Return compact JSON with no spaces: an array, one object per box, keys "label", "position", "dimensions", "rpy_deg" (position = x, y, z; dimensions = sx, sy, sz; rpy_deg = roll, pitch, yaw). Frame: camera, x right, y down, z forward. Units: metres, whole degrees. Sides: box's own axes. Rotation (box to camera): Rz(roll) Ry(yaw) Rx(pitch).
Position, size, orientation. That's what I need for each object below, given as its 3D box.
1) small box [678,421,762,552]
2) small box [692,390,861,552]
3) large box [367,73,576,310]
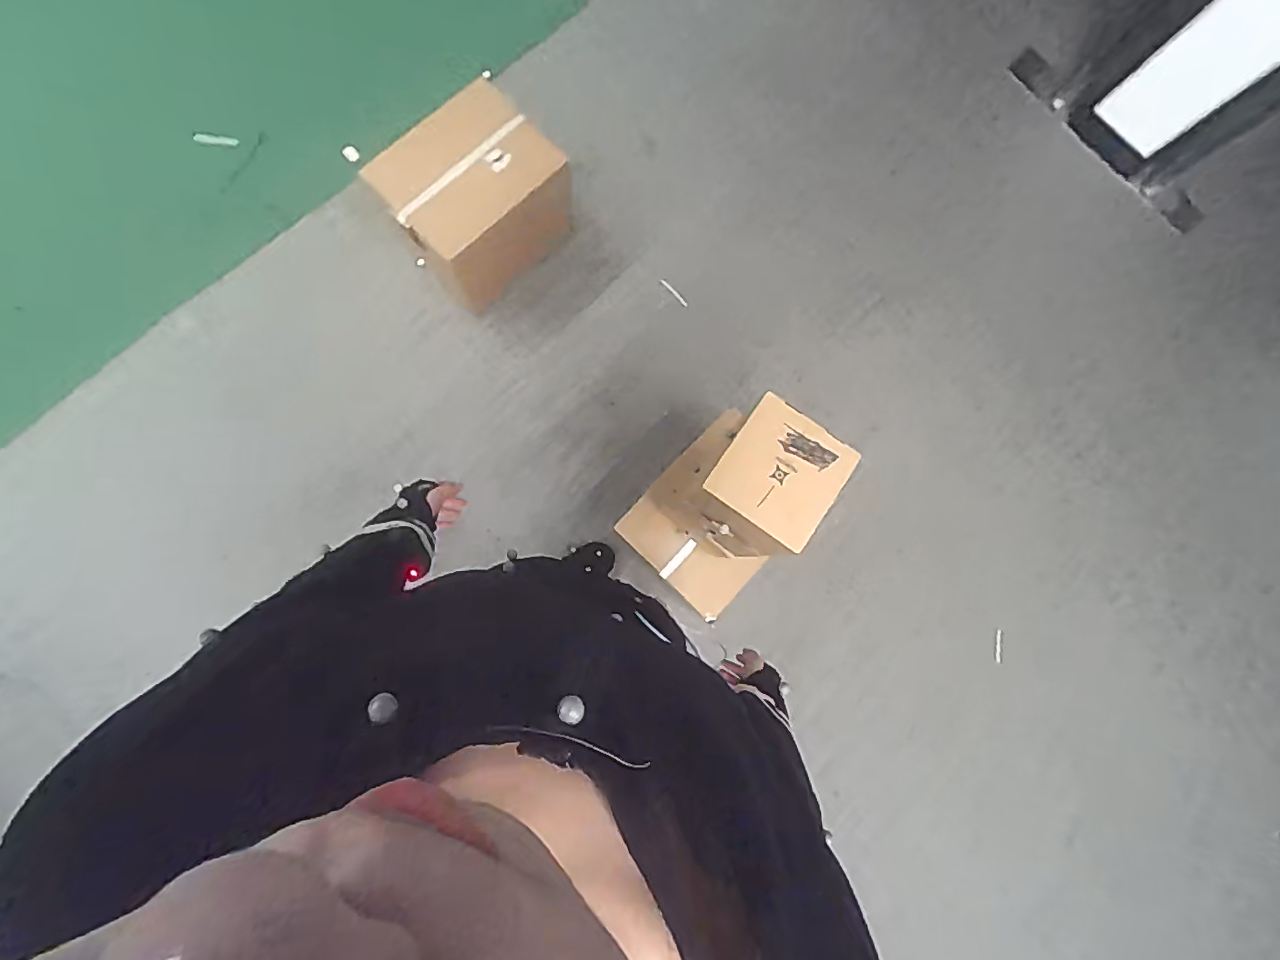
[{"label":"small box","position":[0.185,0.018,1.003],"dimensions":[0.168,0.176,0.179],"rpy_deg":[37,82,1]},{"label":"small box","position":[0.197,-0.005,0.840],"dimensions":[0.168,0.176,0.179],"rpy_deg":[36,82,2]},{"label":"large box","position":[-0.421,-0.749,1.454],"dimensions":[0.408,0.320,0.320],"rpy_deg":[-44,88,-9]}]
